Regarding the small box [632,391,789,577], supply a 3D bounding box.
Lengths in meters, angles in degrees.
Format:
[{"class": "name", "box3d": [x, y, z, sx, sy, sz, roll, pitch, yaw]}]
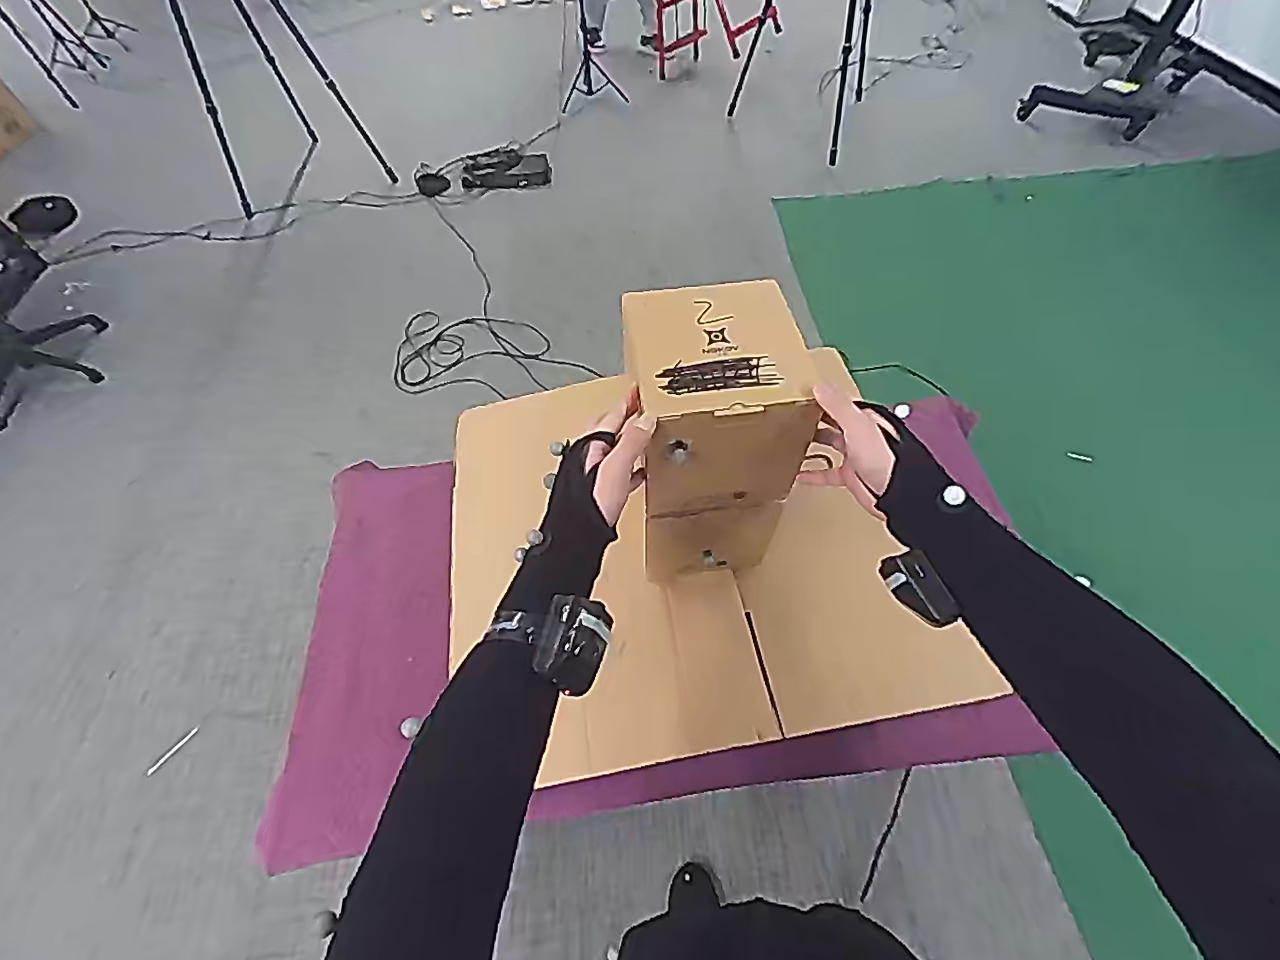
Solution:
[{"class": "small box", "box3d": [0.079, 0.008, 0.717, 0.168, 0.176, 0.179, -7, 57, -4]}]
